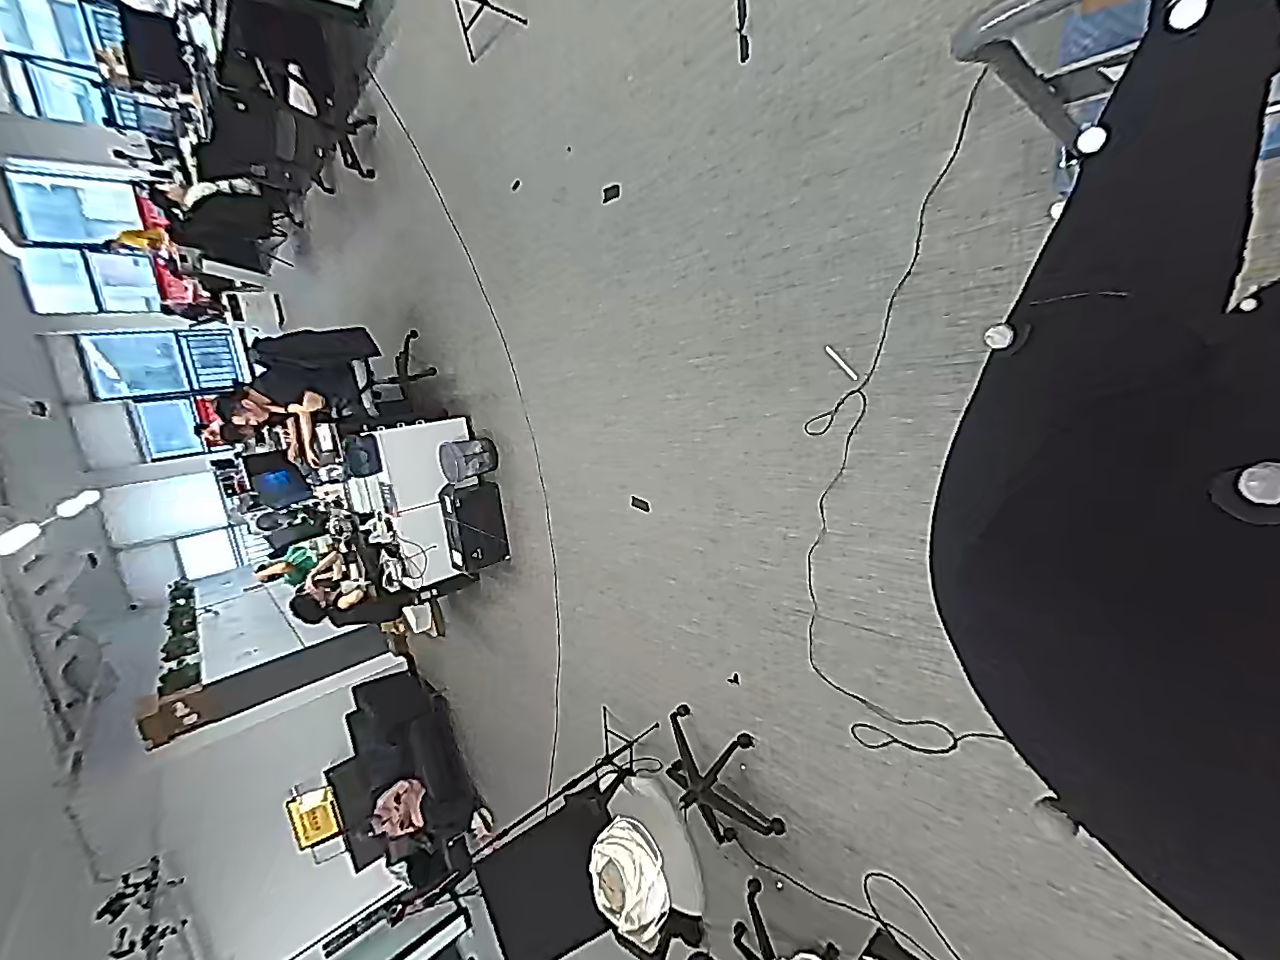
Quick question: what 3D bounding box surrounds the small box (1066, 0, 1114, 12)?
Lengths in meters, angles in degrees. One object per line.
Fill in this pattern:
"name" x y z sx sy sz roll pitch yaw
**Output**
"small box" 0.743 -0.848 0.801 0.179 0.176 0.168 13 112 45
